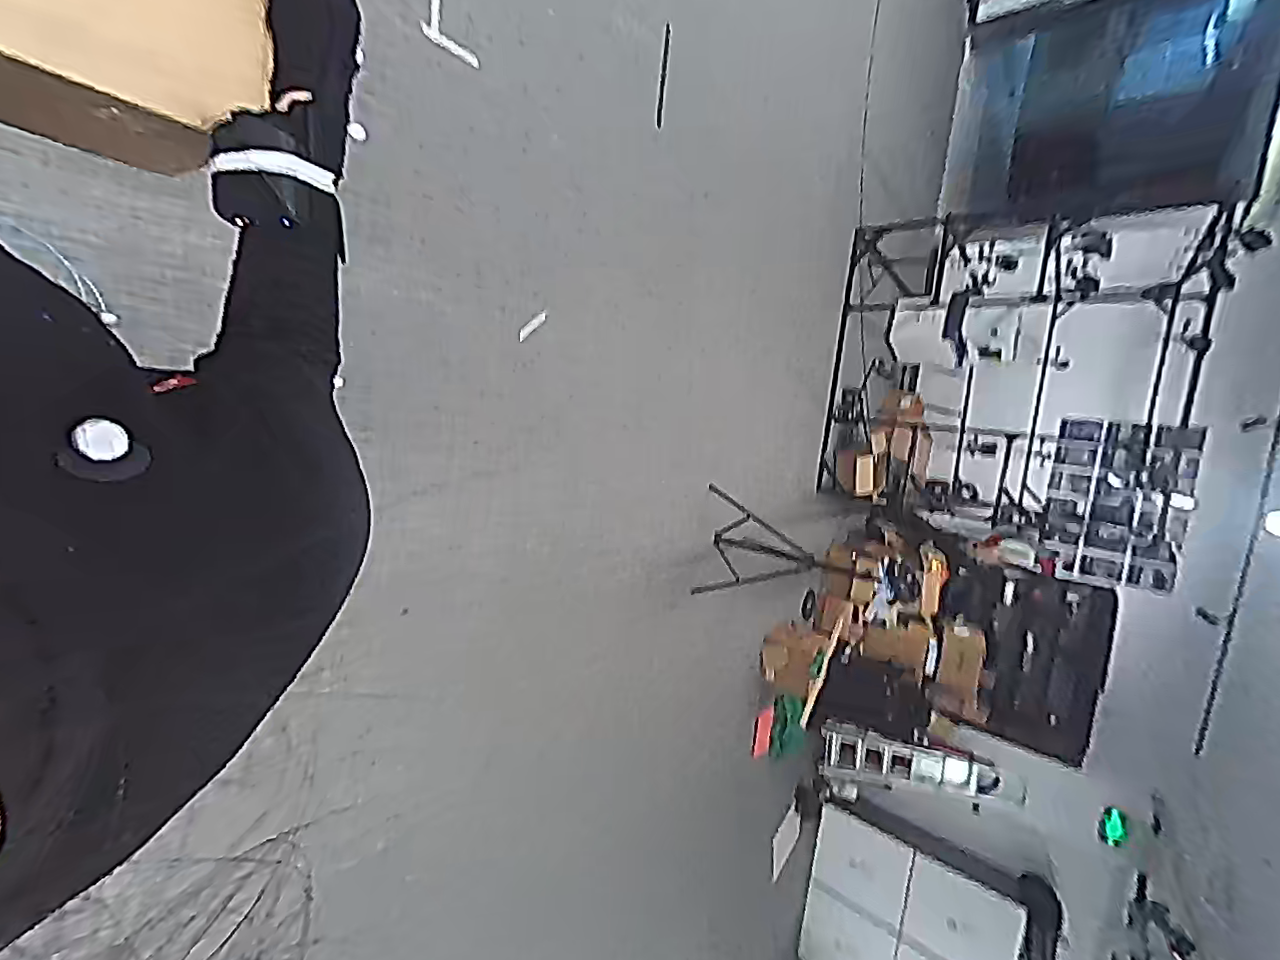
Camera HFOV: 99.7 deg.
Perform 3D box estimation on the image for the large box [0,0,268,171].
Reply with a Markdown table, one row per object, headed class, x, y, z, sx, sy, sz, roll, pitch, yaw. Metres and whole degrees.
| class | x | y | z | sx | sy | sz | roll | pitch | yaw |
| --- | --- | --- | --- | --- | --- | --- | --- | --- | --- |
| large box | -0.504 | -0.438 | 0.326 | 0.408 | 0.320 | 0.320 | -1 | 108 | -52 |
